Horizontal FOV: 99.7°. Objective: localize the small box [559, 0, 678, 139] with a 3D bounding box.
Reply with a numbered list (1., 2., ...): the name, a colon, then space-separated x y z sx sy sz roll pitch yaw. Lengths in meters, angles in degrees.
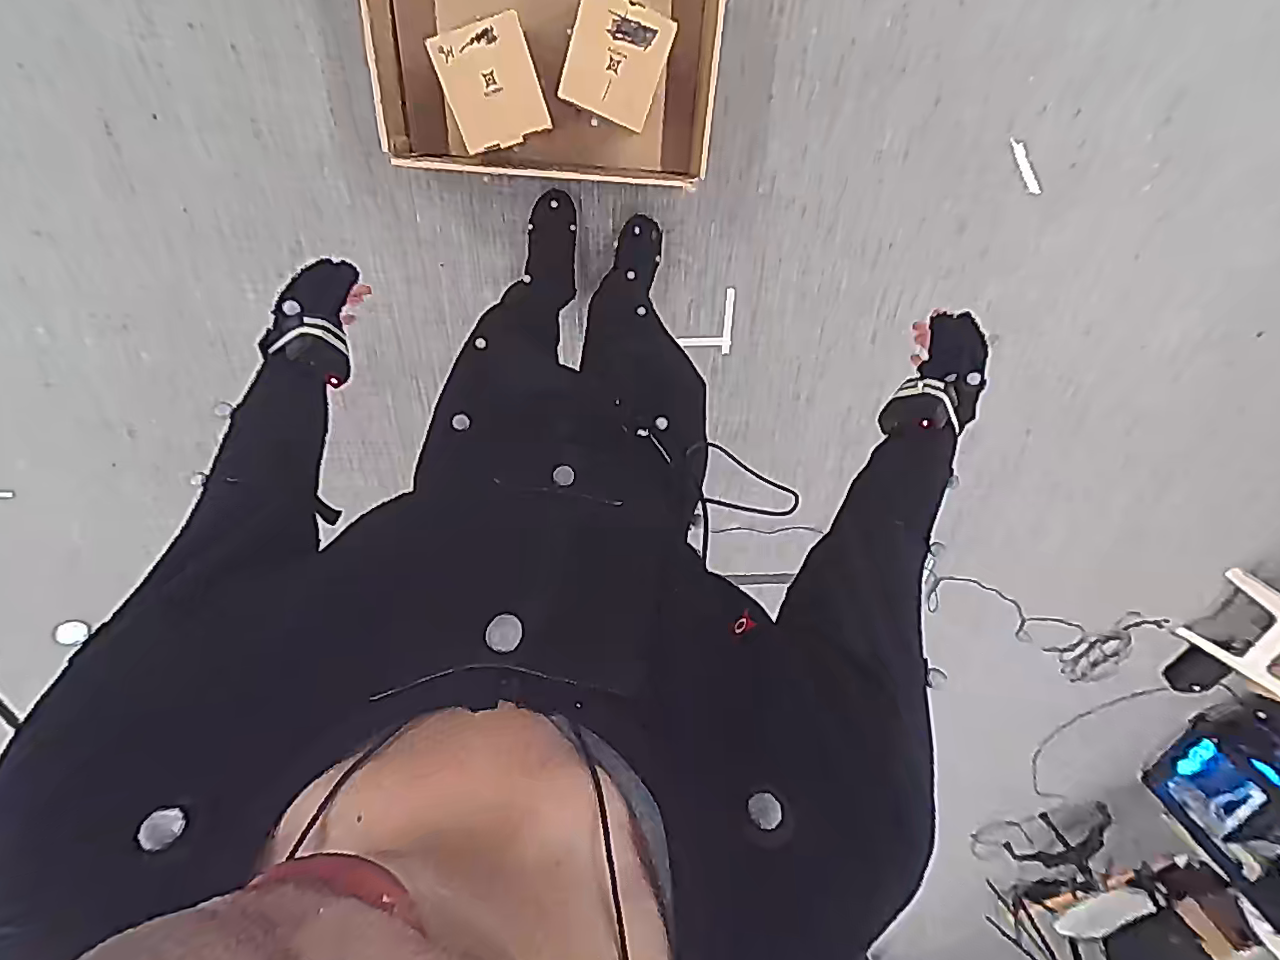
1. small box: -0.048 -0.771 1.014 0.168 0.176 0.179 17 119 -15
